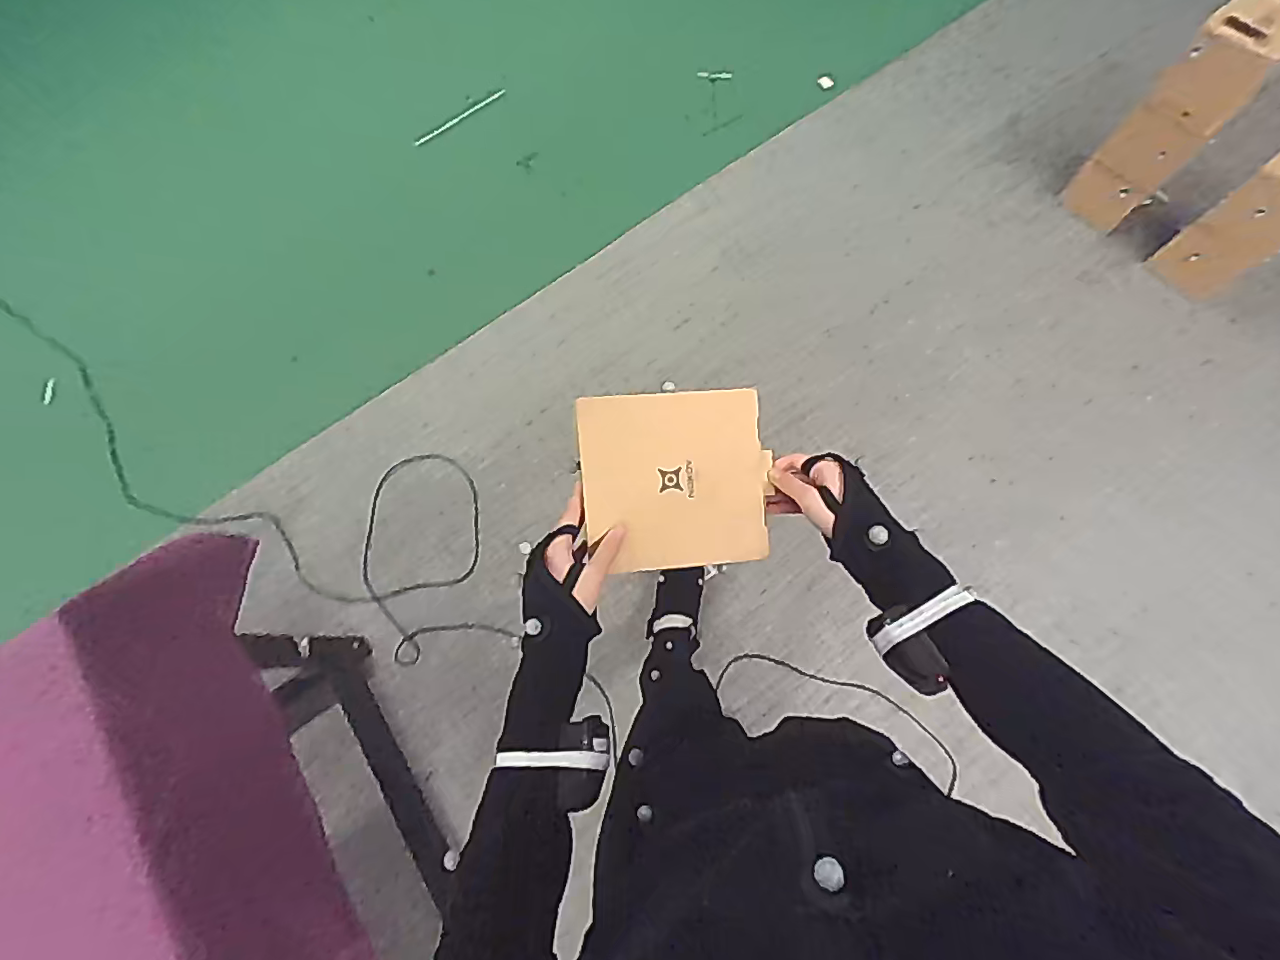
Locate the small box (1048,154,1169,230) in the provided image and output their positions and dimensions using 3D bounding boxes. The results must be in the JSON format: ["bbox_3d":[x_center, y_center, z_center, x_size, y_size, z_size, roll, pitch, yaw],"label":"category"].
[{"bbox_3d":[1.341,-0.853,1.550,0.168,0.176,0.179,-40,73,-7],"label":"small box"}]

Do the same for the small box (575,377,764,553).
[{"bbox_3d":[0.021,-0.013,0.600,0.179,0.176,0.168,-4,89,-8],"label":"small box"}]

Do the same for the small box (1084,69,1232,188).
[{"bbox_3d":[1.320,-0.892,1.392,0.168,0.176,0.179,-39,73,-7],"label":"small box"}]
